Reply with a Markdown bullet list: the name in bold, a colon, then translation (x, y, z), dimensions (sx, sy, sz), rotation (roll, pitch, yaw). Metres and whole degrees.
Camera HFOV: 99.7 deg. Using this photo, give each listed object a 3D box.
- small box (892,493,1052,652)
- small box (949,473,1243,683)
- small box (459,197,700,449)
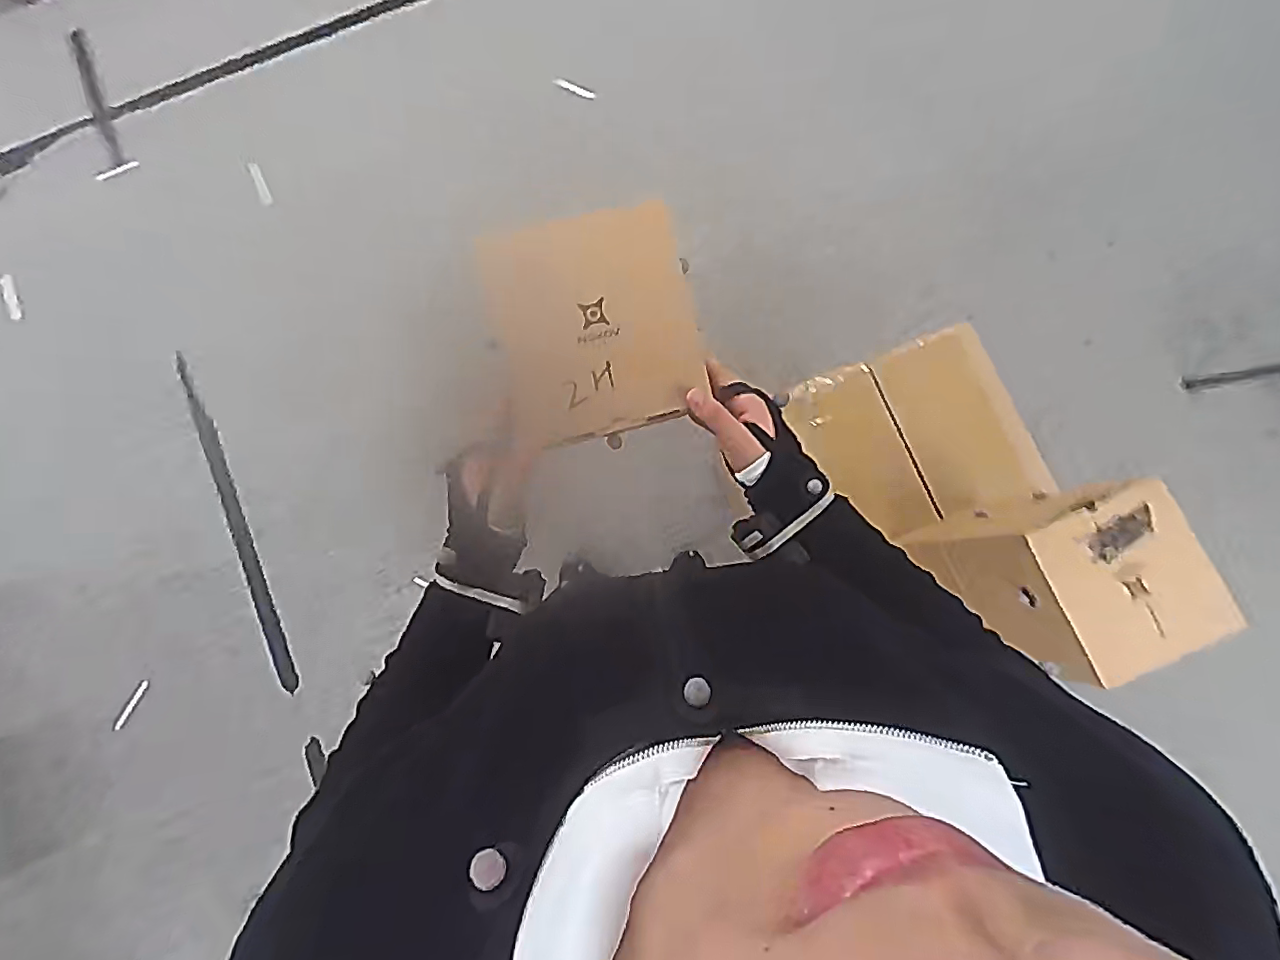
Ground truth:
- **small box**: translation (0.518, 0.133, 0.806), dimensions (0.179, 0.176, 0.168), rotation (-23, 80, -1)
- **small box**: translation (0.513, 0.112, 0.643), dimensions (0.168, 0.176, 0.179), rotation (-23, 82, -2)
- **small box**: translation (-0.056, -0.134, 0.526), dimensions (0.168, 0.176, 0.179), rotation (-16, 93, -4)
